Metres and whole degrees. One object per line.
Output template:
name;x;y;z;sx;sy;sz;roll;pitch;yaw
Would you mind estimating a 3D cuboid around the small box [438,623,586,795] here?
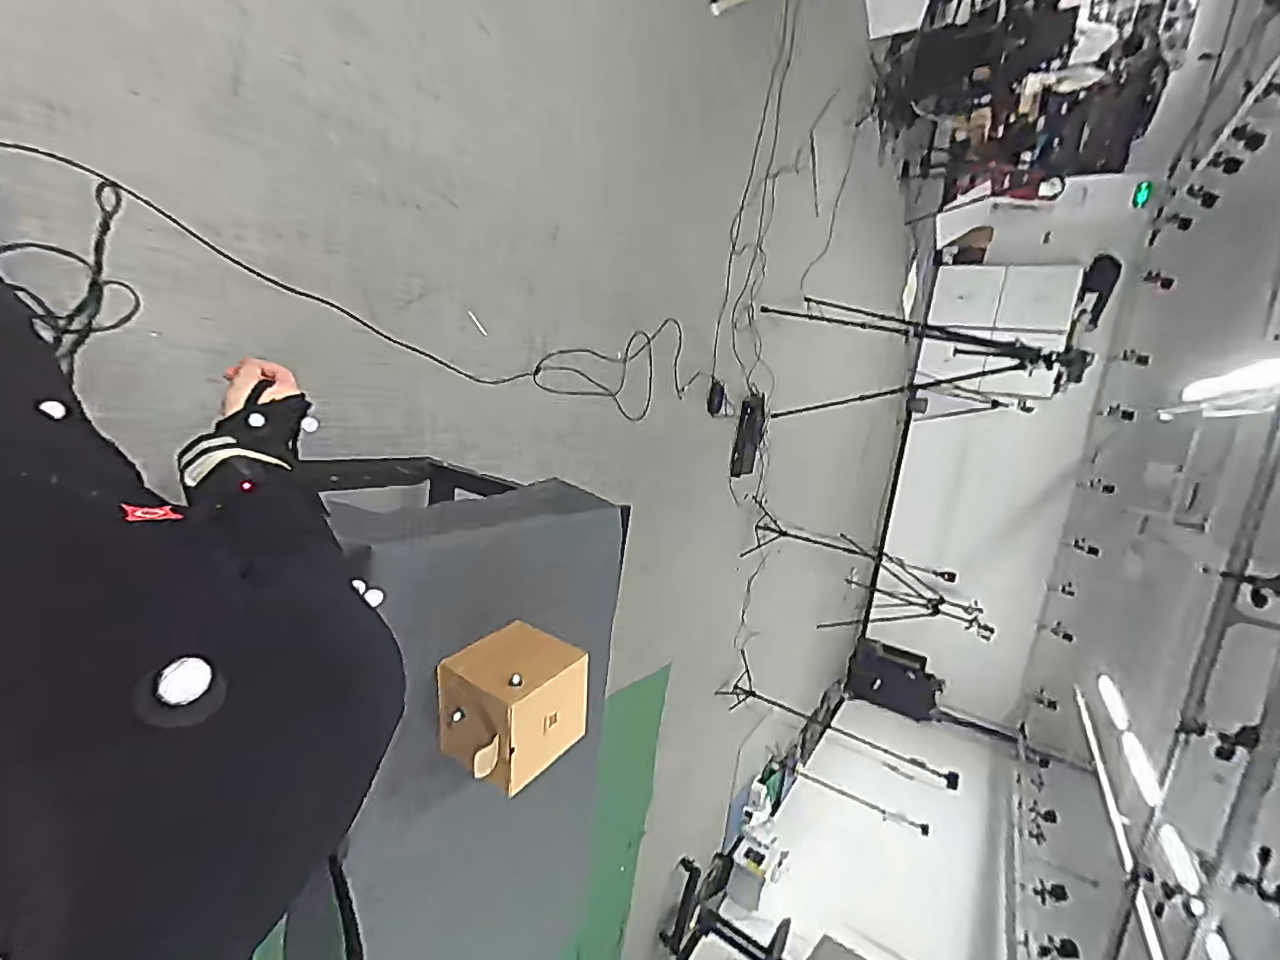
small box;-0.212;0.364;0.902;0.179;0.176;0.168;-19;118;-53
